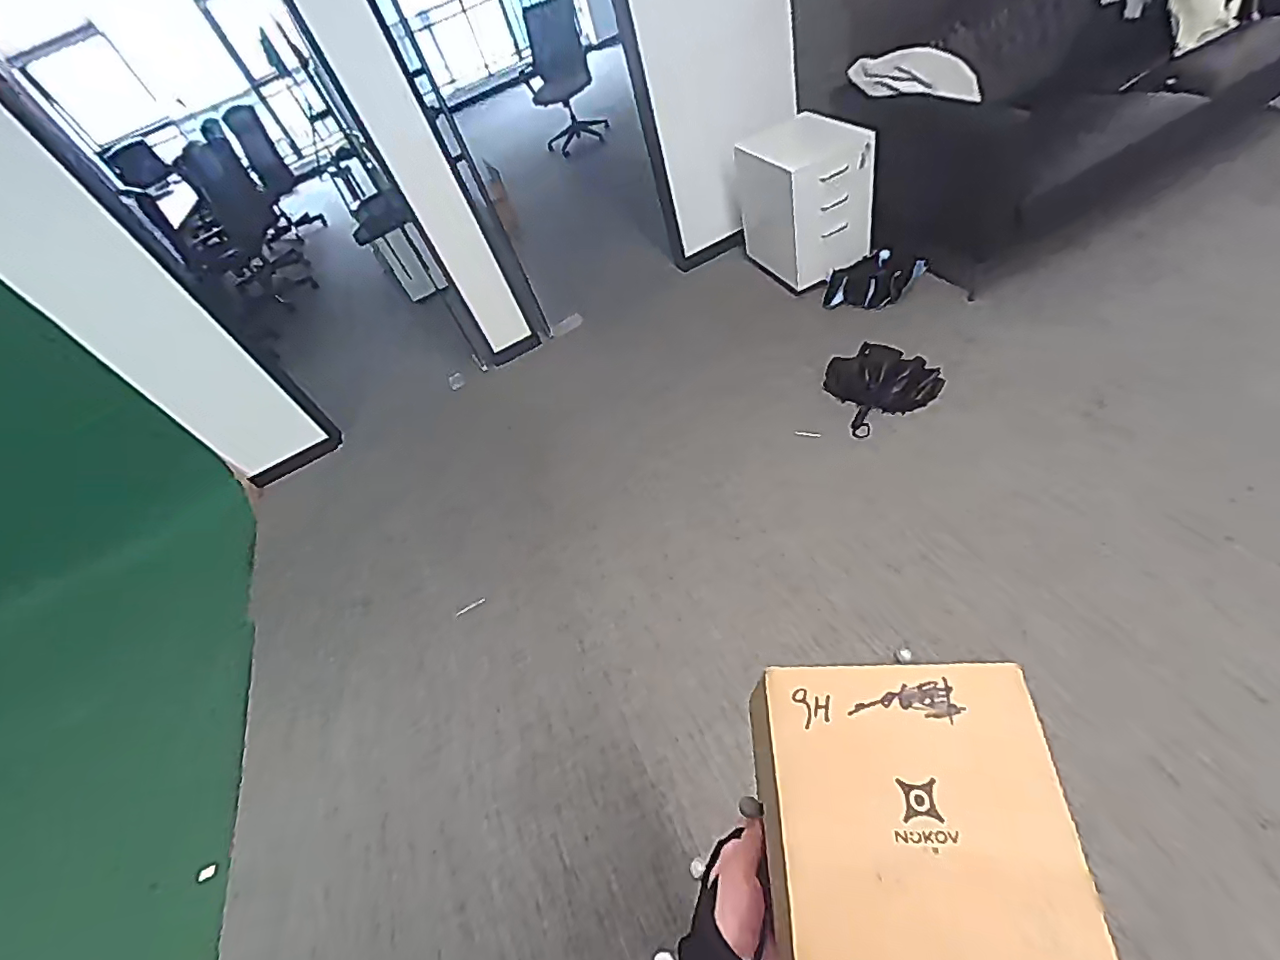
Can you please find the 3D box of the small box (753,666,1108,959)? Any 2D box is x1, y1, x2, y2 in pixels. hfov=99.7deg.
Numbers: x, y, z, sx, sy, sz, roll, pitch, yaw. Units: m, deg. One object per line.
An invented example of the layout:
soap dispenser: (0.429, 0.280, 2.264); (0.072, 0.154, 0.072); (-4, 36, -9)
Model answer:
small box: (0.176, 0.237, 0.392); (0.168, 0.176, 0.179); (-2, 62, 5)
